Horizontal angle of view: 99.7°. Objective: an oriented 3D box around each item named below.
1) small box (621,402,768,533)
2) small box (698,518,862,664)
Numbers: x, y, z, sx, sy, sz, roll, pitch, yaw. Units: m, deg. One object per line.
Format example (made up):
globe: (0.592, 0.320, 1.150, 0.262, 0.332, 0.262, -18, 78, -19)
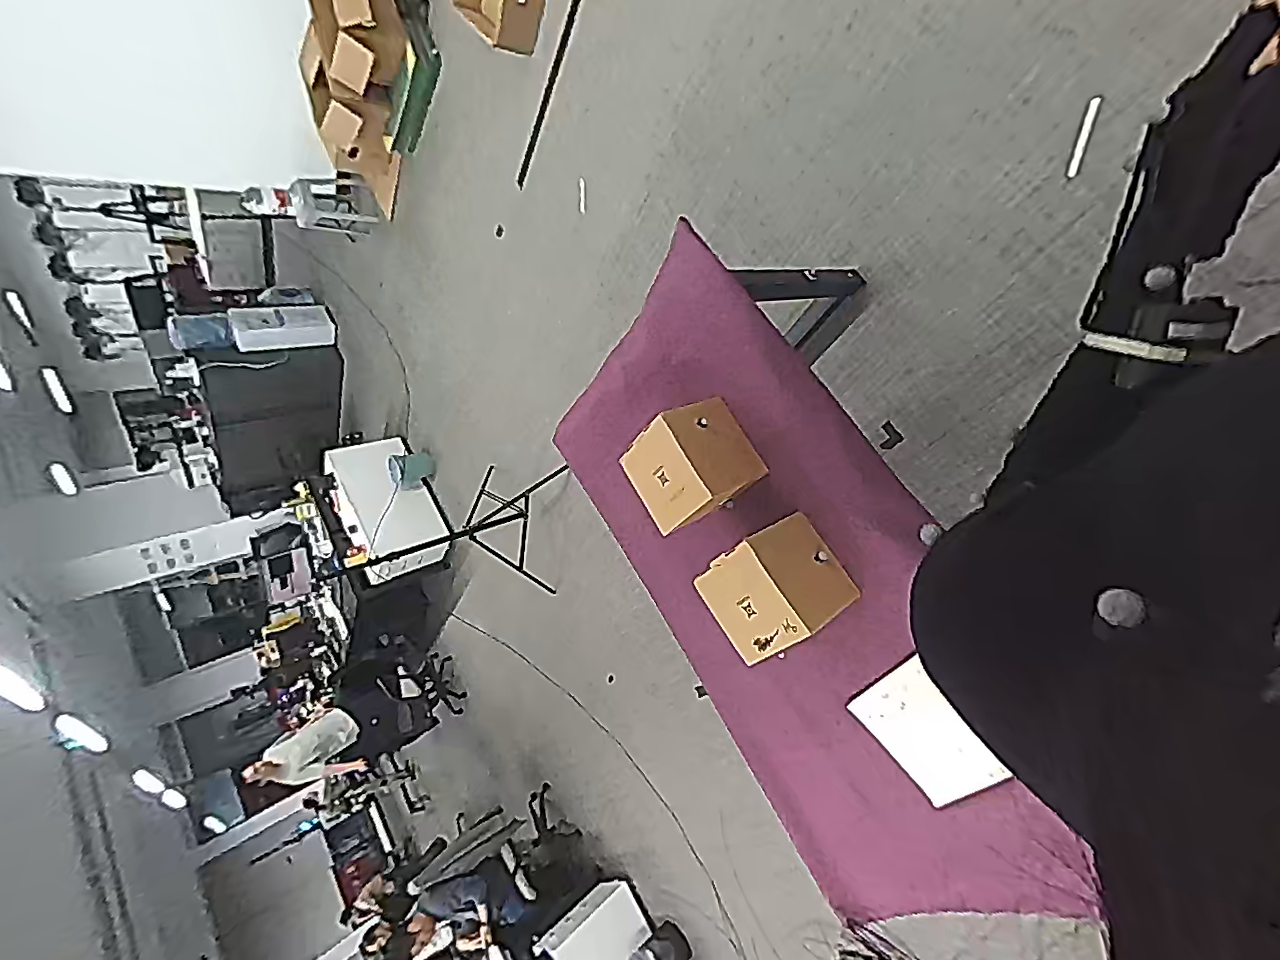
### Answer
small box: (0.101, -0.031, 1.013, 0.179, 0.176, 0.168, 59, 141, 12)
small box: (0.240, 0.183, 0.937, 0.179, 0.176, 0.168, 57, 140, 17)
